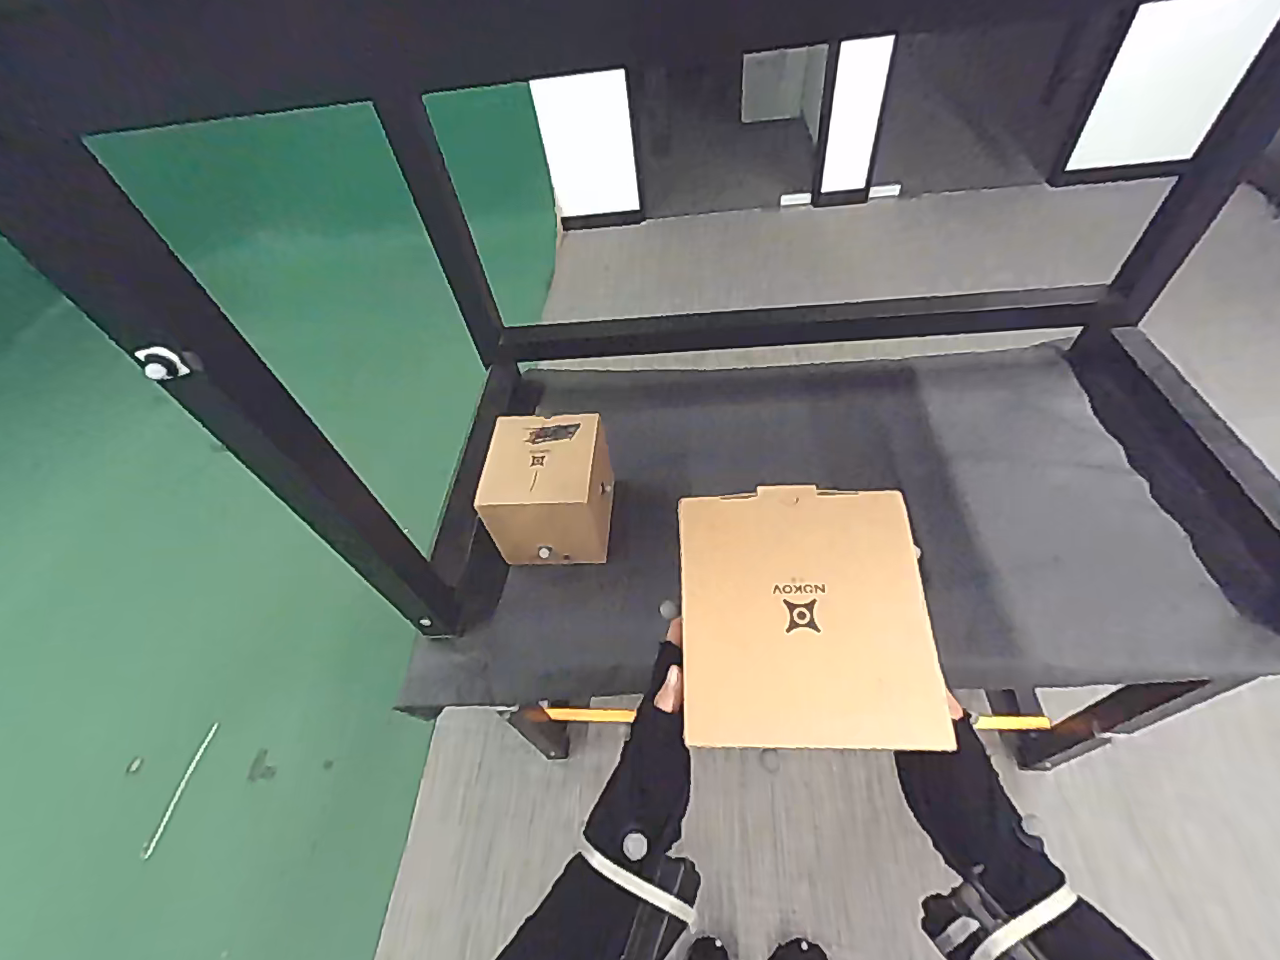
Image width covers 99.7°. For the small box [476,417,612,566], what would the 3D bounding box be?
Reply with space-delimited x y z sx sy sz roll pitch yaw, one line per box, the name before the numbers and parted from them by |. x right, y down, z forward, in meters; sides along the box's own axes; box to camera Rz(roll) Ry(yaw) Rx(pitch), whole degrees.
small box | -0.140 0.020 0.867 0.168 0.176 0.179 -2 51 6

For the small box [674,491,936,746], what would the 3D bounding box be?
small box | 0.117 0.124 0.453 0.168 0.176 0.179 -2 63 6
